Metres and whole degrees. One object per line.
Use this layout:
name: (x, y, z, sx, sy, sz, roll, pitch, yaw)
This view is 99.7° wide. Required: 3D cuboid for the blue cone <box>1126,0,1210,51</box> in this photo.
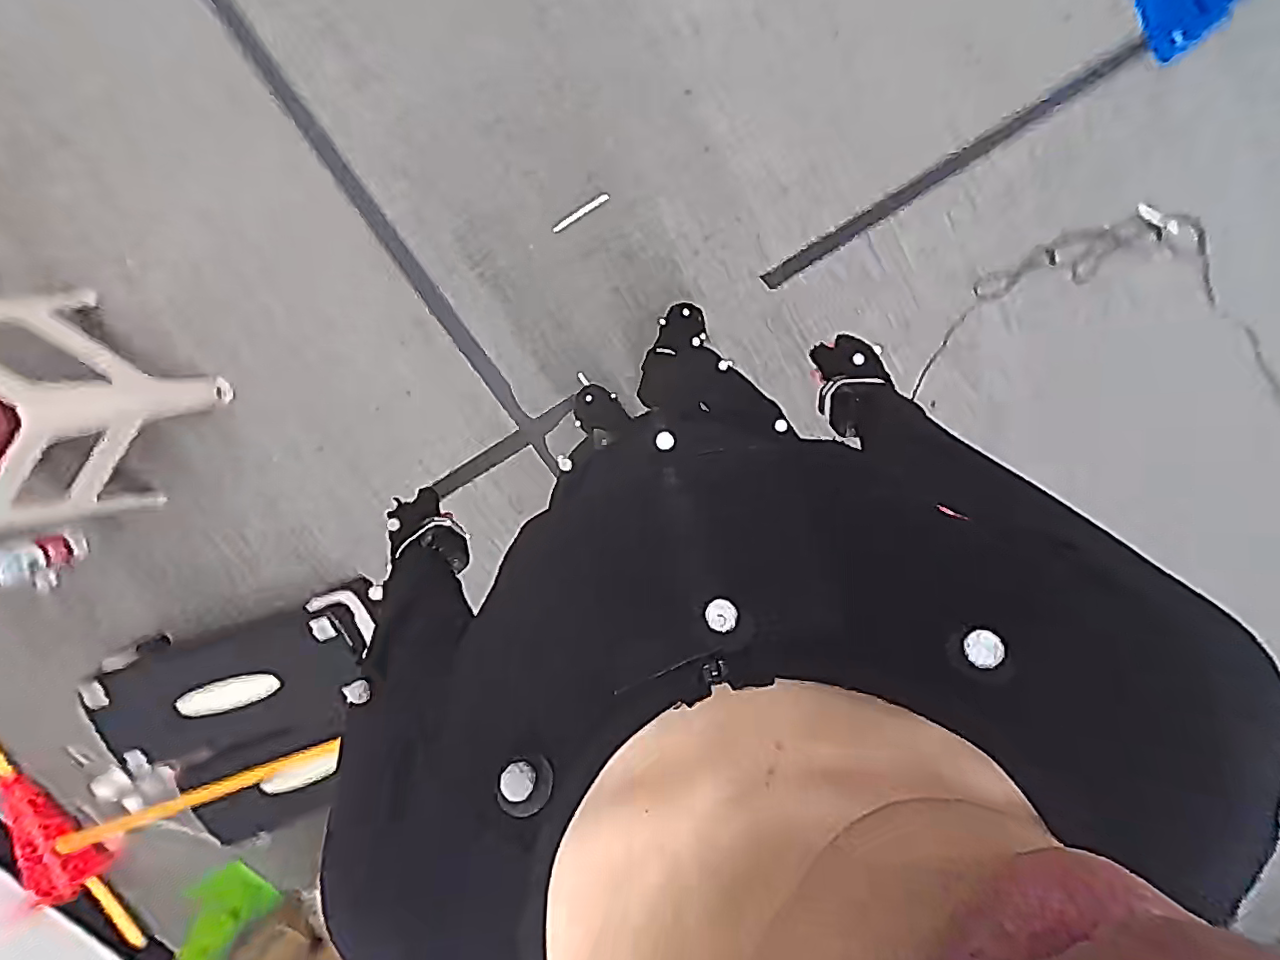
blue cone: (1.321, -1.154, 1.174, 0.193, 0.380, 0.192, -36, 103, 3)
